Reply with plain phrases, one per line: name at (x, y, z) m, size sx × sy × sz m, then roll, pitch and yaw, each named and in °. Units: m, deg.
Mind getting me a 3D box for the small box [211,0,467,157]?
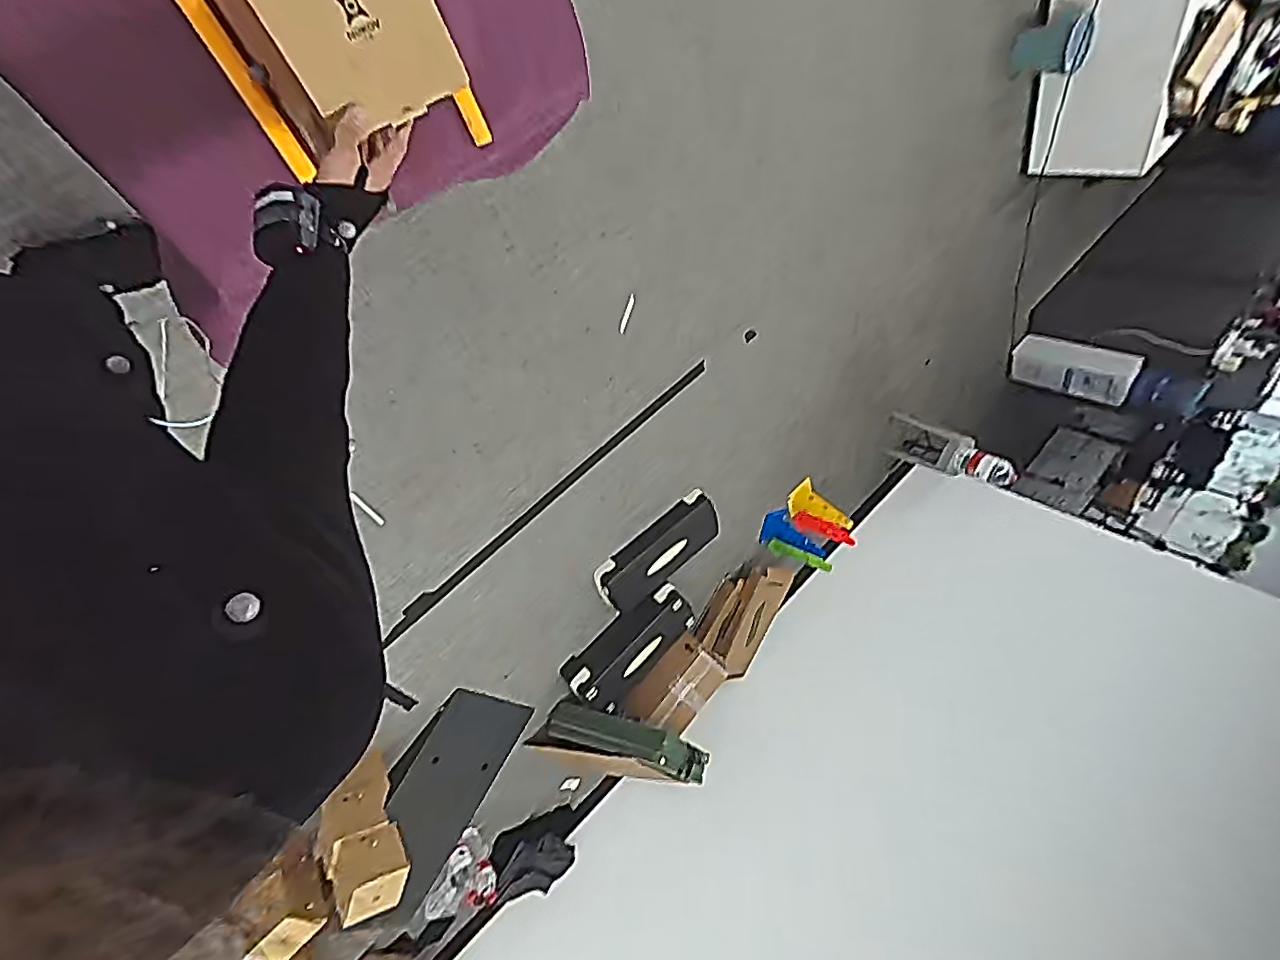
small box at (-0.327, -0.479, 0.586) m, size 0.168 × 0.176 × 0.179 m, roll -40°, pitch 134°, yaw -16°
